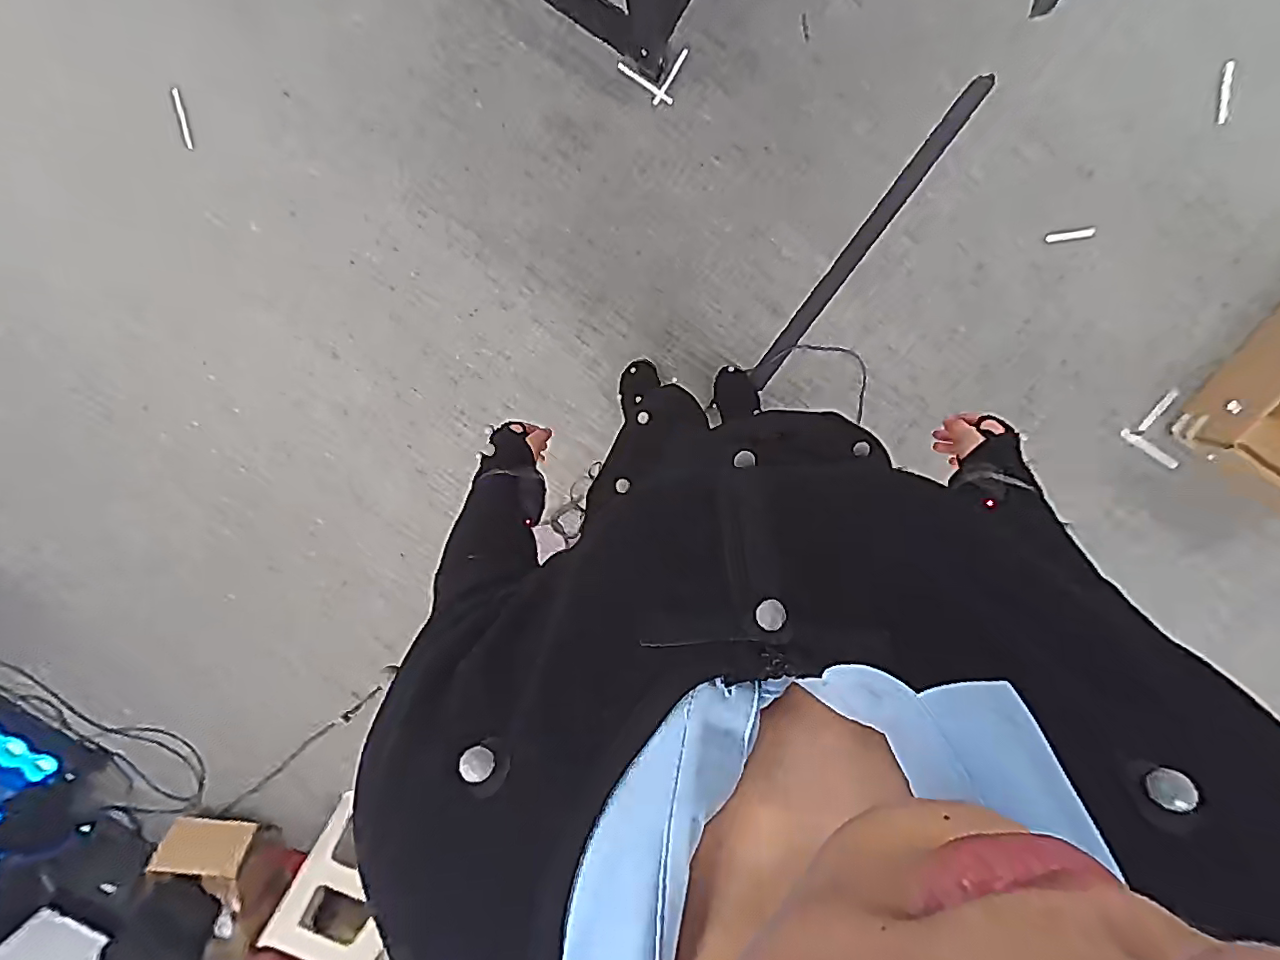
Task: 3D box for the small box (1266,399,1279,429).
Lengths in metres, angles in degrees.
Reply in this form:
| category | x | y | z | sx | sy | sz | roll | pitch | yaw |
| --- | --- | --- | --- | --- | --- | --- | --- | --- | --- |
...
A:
| category | x | y | z | sx | sy | sz | roll | pitch | yaw |
| --- | --- | --- | --- | --- | --- | --- | --- | --- | --- |
| small box | 1.612 | -0.149 | 1.213 | 0.179 | 0.176 | 0.168 | 38 | 102 | -3 |
